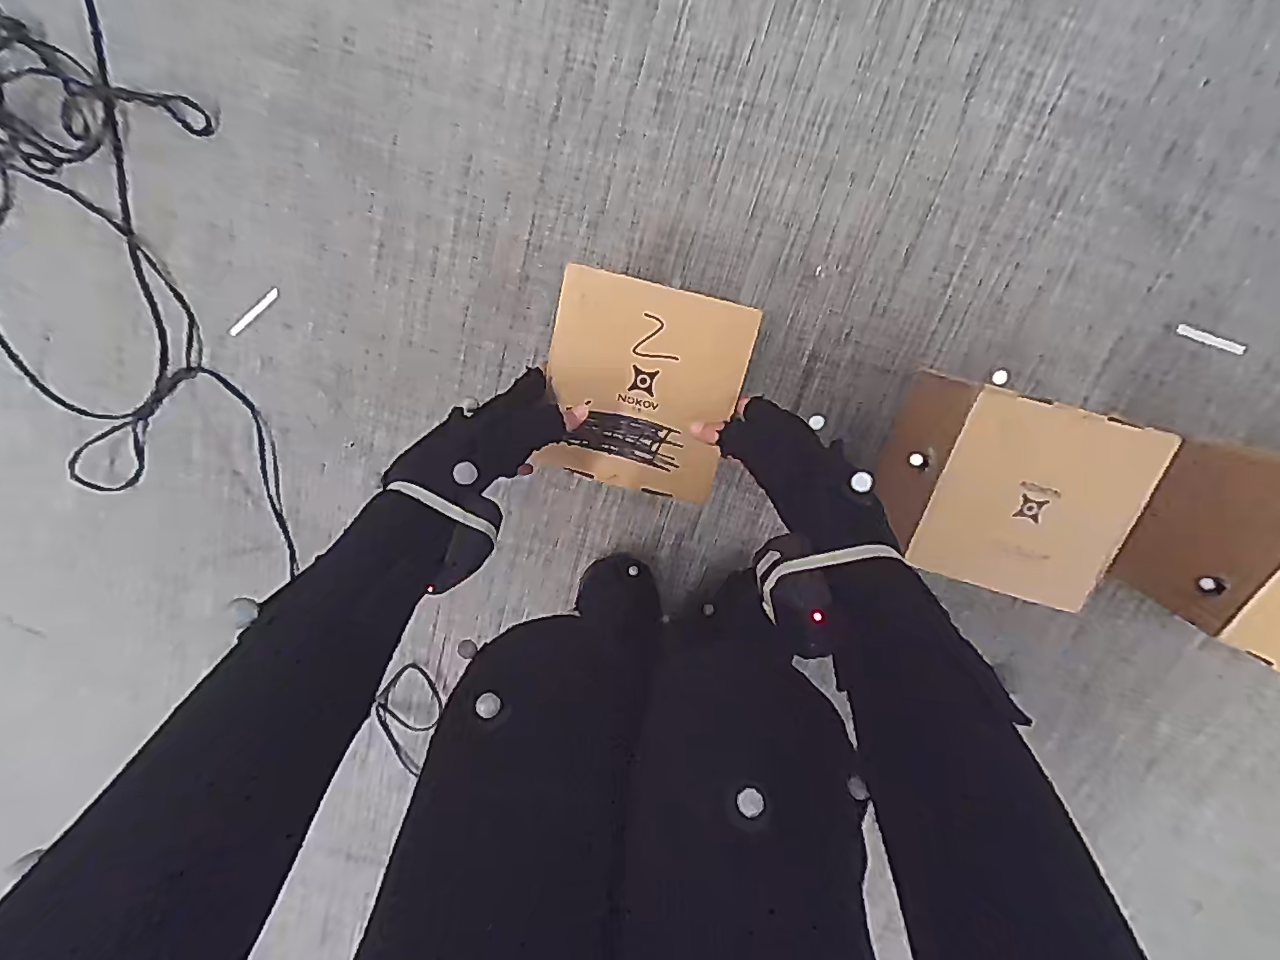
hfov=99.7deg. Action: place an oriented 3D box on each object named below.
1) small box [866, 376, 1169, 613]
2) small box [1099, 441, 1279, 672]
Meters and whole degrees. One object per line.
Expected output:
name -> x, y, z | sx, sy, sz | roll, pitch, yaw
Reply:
small box -> 0.355, 0.000, 0.555 | 0.168, 0.176, 0.179 | 16, 109, 5
small box -> 0.628, 0.079, 0.541 | 0.168, 0.176, 0.179 | 24, 108, 0
